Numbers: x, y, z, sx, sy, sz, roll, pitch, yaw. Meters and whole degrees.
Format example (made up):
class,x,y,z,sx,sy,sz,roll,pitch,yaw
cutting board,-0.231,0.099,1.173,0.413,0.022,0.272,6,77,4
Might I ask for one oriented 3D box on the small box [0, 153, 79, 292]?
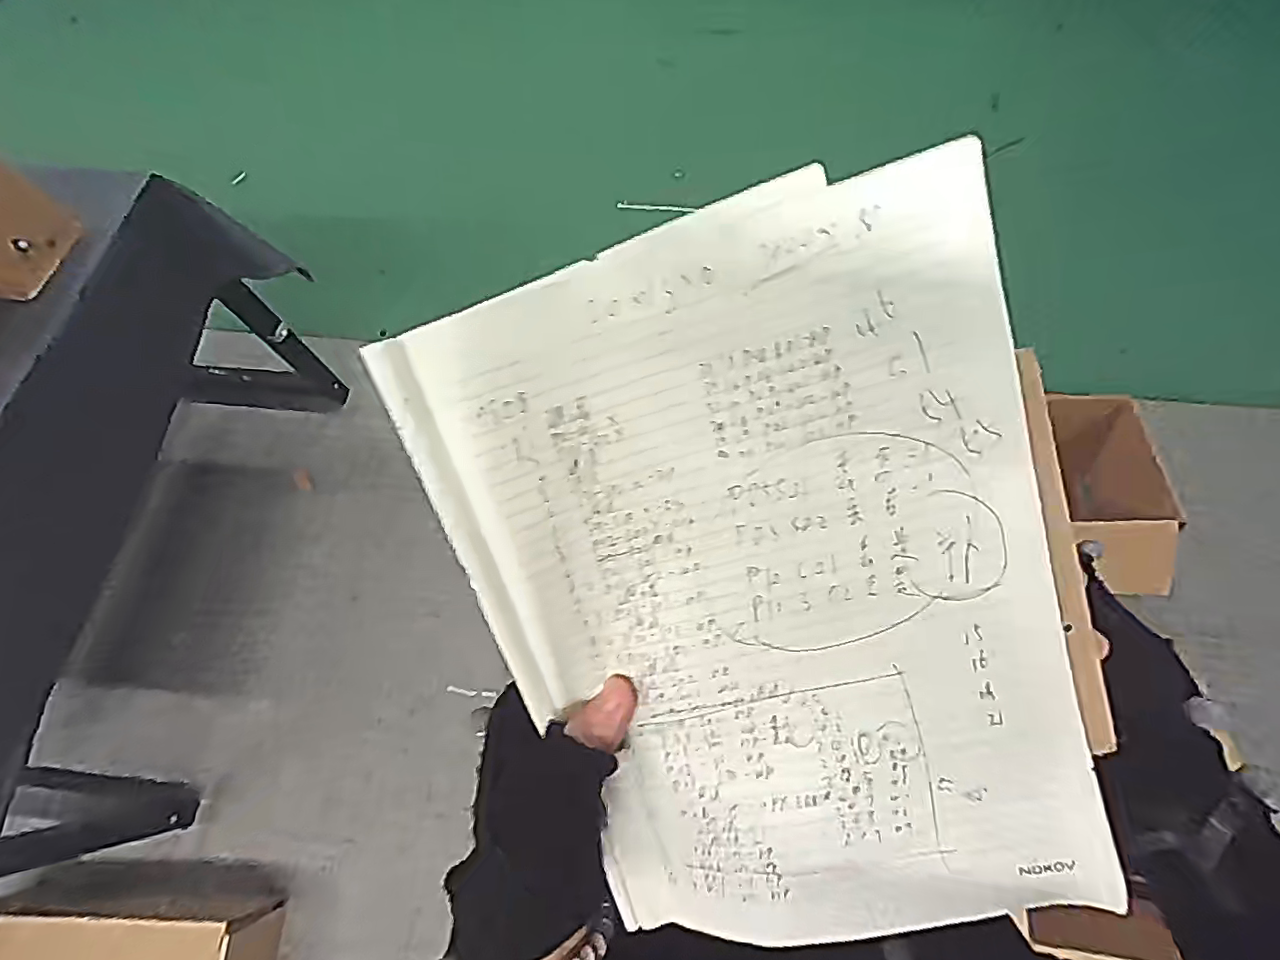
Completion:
class,x,y,z,sx,sy,sz,roll,pitch,yaw
small box,-1.077,-0.420,0.852,0.179,0.176,0.168,8,67,5
